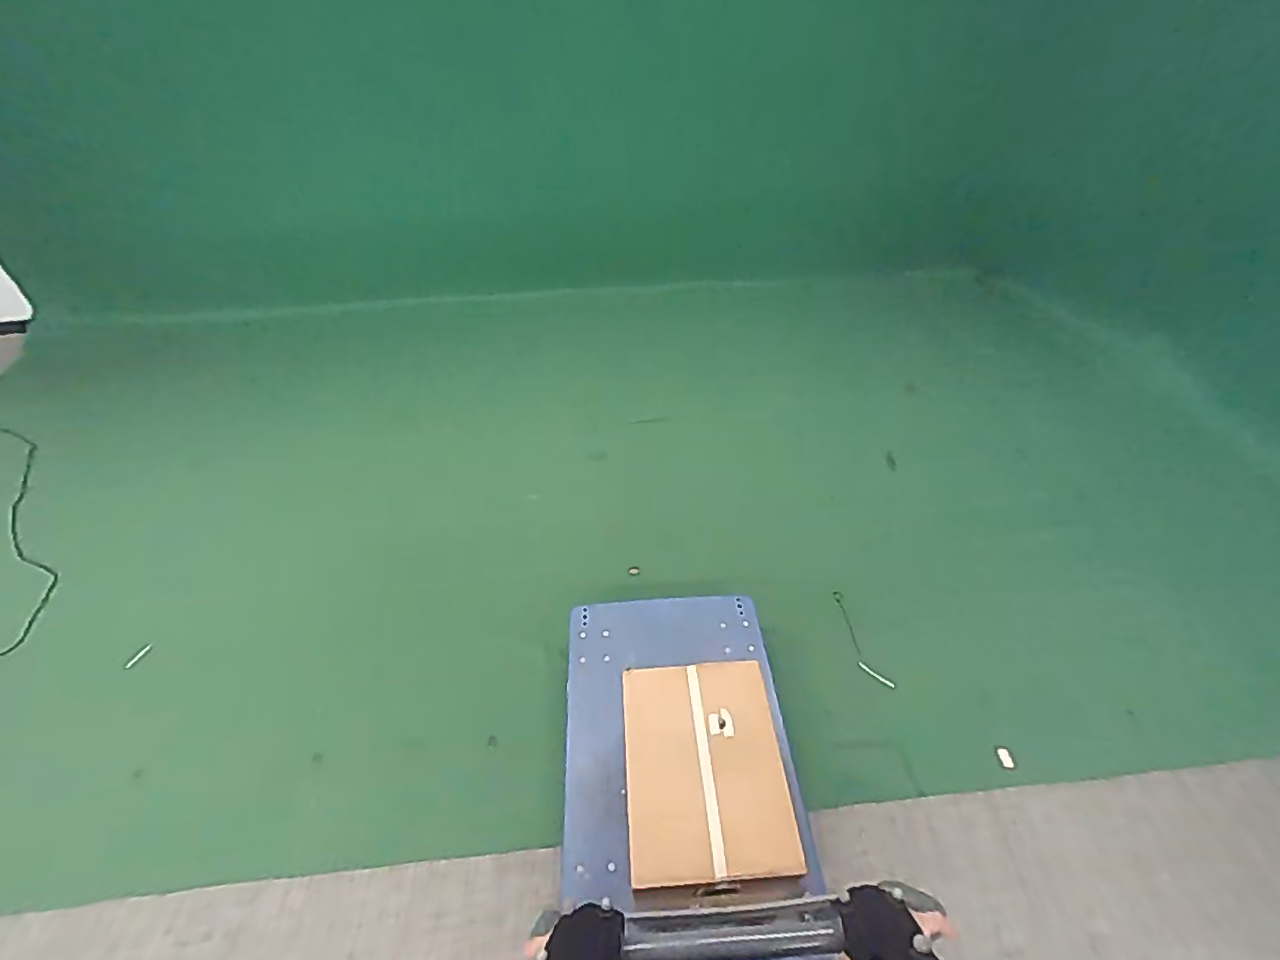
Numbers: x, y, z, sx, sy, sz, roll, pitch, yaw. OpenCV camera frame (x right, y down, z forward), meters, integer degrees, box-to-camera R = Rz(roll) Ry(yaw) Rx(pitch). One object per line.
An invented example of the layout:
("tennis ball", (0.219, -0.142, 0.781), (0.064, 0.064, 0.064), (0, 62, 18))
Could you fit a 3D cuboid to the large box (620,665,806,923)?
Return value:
("large box", (0.129, 0.679, 1.187), (0.320, 0.320, 0.408), (-4, 43, -3))
